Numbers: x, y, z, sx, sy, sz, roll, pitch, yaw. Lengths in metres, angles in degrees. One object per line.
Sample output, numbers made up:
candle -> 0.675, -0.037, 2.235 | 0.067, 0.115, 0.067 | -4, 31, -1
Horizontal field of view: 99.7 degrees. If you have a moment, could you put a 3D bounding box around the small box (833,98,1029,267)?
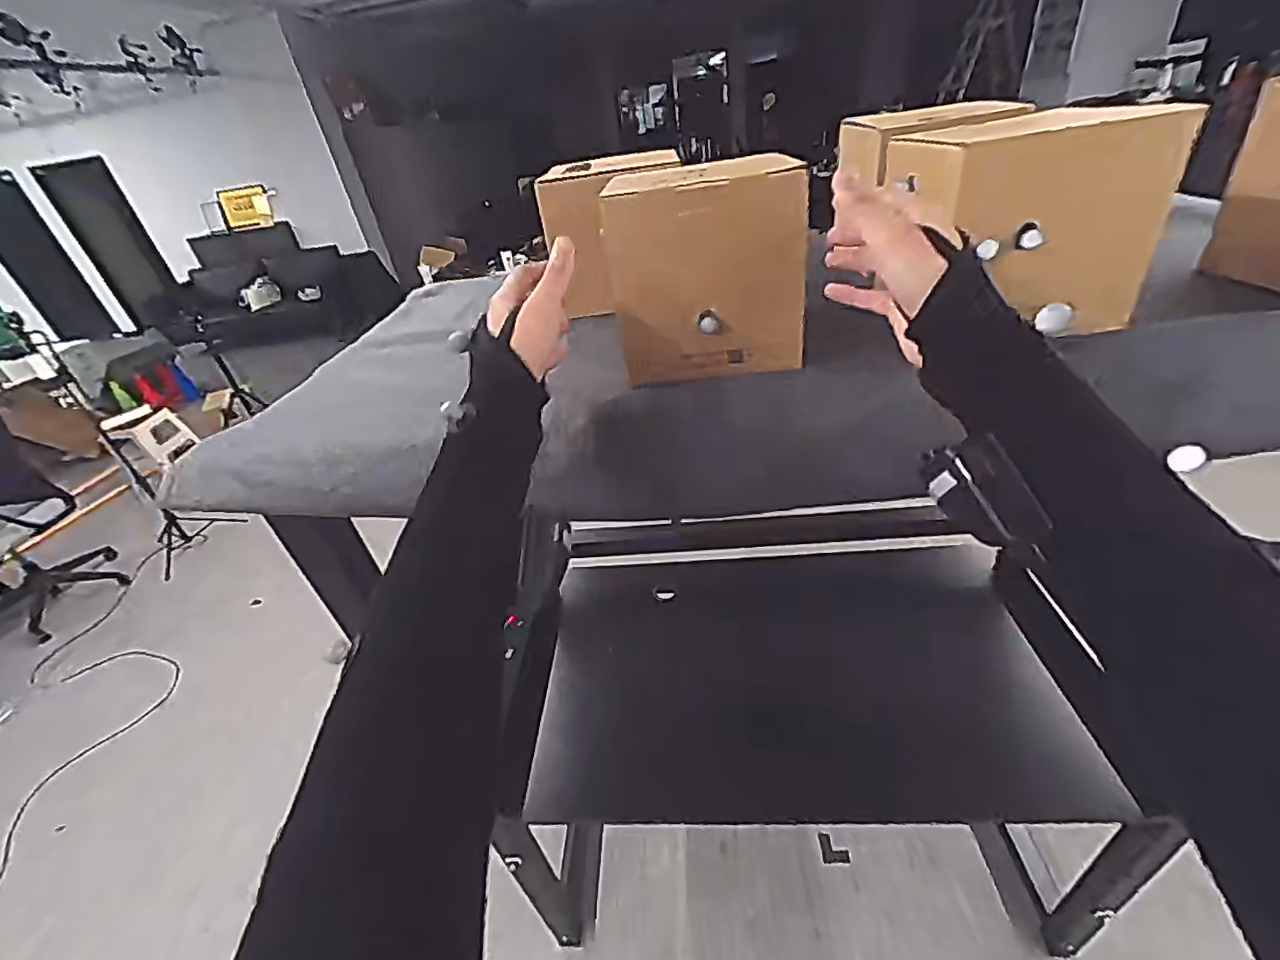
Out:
small box -> 0.362, -0.390, 0.716 | 0.168, 0.176, 0.179 | -5, 33, 6

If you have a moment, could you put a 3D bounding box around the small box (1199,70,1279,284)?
small box -> 0.645, -0.259, 0.448 | 0.168, 0.176, 0.179 | -4, 31, 9

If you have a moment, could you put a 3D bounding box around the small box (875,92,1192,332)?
small box -> 0.335, -0.245, 0.509 | 0.168, 0.176, 0.179 | -5, 32, 7
